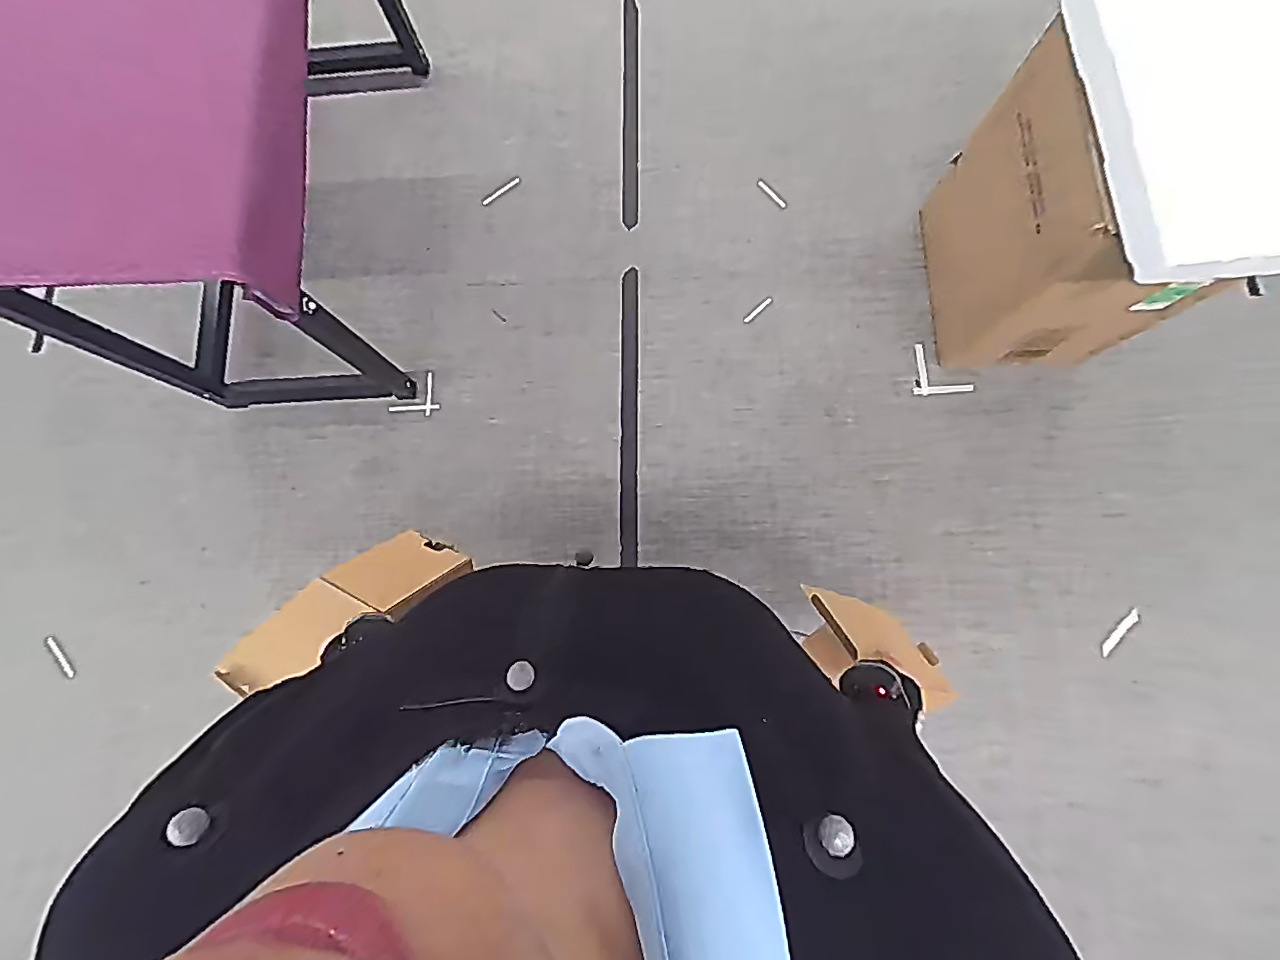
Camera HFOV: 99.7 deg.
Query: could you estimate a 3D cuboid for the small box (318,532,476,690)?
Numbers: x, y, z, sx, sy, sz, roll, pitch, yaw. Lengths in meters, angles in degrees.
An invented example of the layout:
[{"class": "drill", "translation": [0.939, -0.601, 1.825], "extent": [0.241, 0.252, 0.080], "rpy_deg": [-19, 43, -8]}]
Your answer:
[{"class": "small box", "translation": [-0.402, 0.219, 0.920], "extent": [0.168, 0.179, 0.176], "rpy_deg": [17, 120, 28]}]
